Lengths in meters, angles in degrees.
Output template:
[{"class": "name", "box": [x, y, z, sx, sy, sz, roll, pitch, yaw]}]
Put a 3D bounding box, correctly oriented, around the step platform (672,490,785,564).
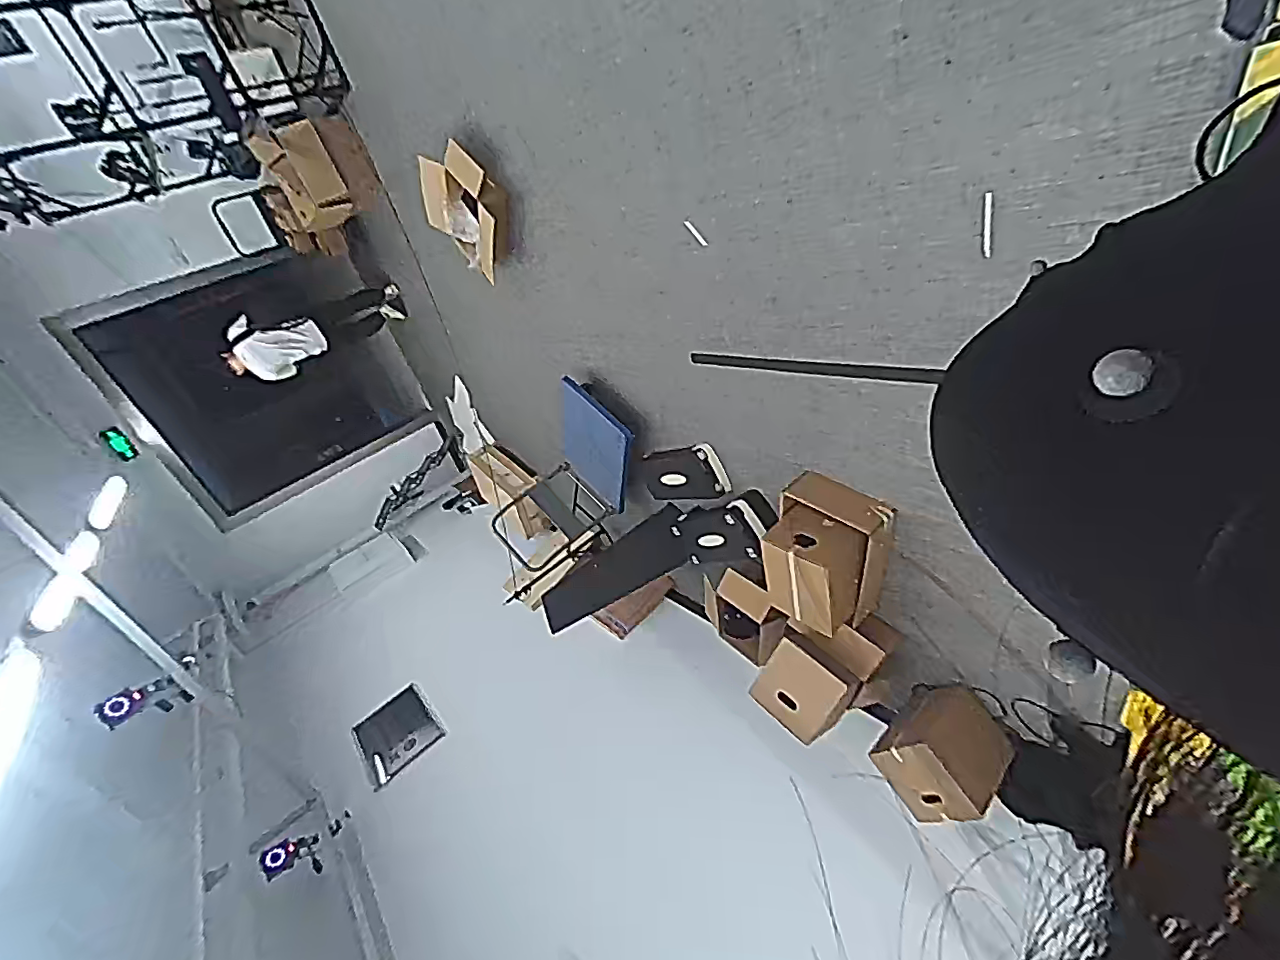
[{"class": "step platform", "box": [0.437, 0.267, 2.857, 0.286, 0.204, 0.684, 56, 153, -4]}]
